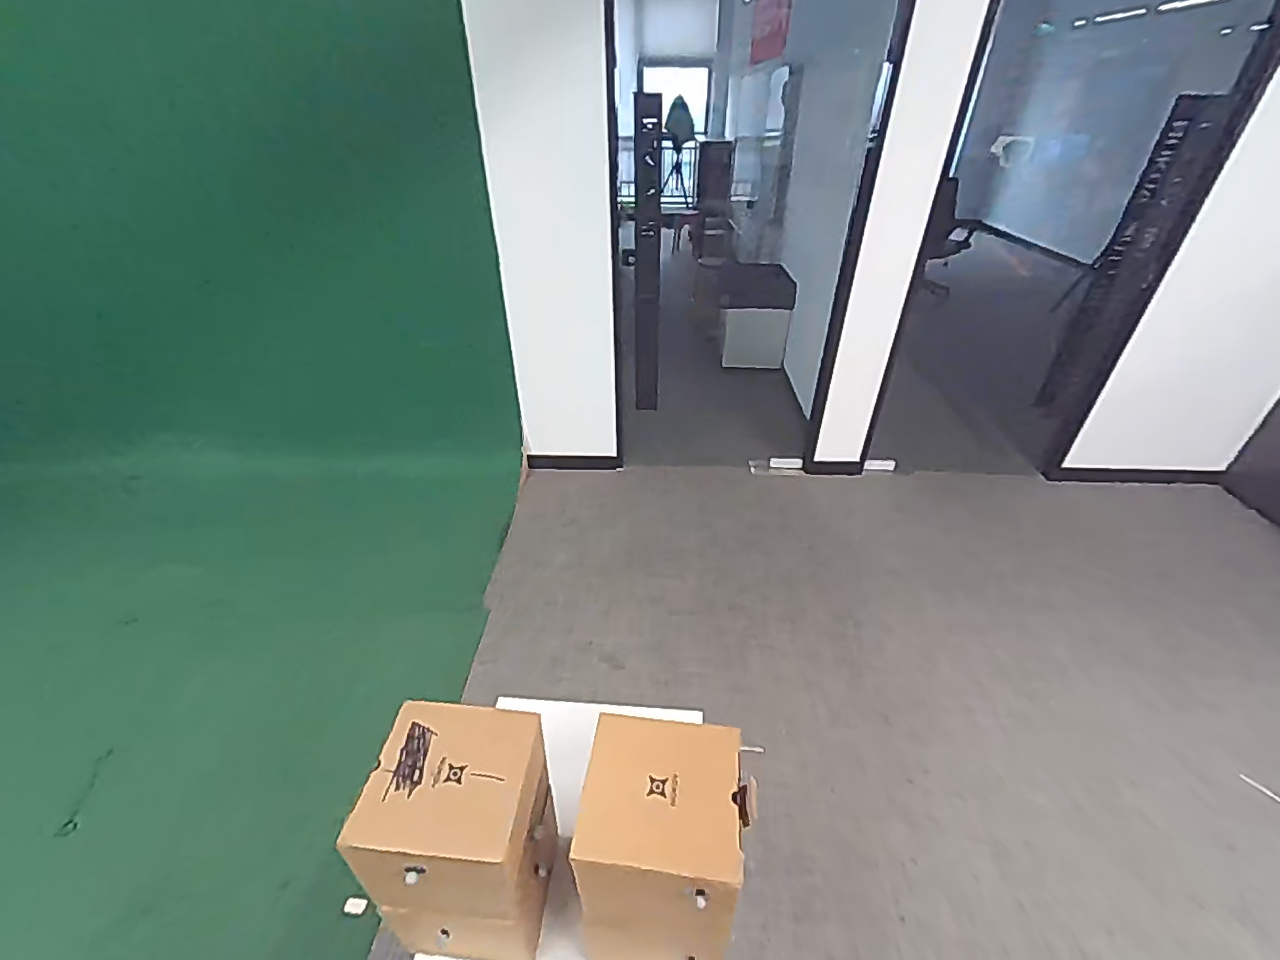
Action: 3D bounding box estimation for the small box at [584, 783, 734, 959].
[{"bbox_3d":[0.030,0.543,0.734,0.179,0.176,0.168,2,35,5],"label":"small box"}]

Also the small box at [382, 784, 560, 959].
[{"bbox_3d":[-0.216,0.533,0.745,0.179,0.176,0.168,5,36,3],"label":"small box"}]

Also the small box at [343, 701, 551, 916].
[{"bbox_3d":[-0.213,0.395,0.653,0.179,0.176,0.168,4,35,2],"label":"small box"}]
